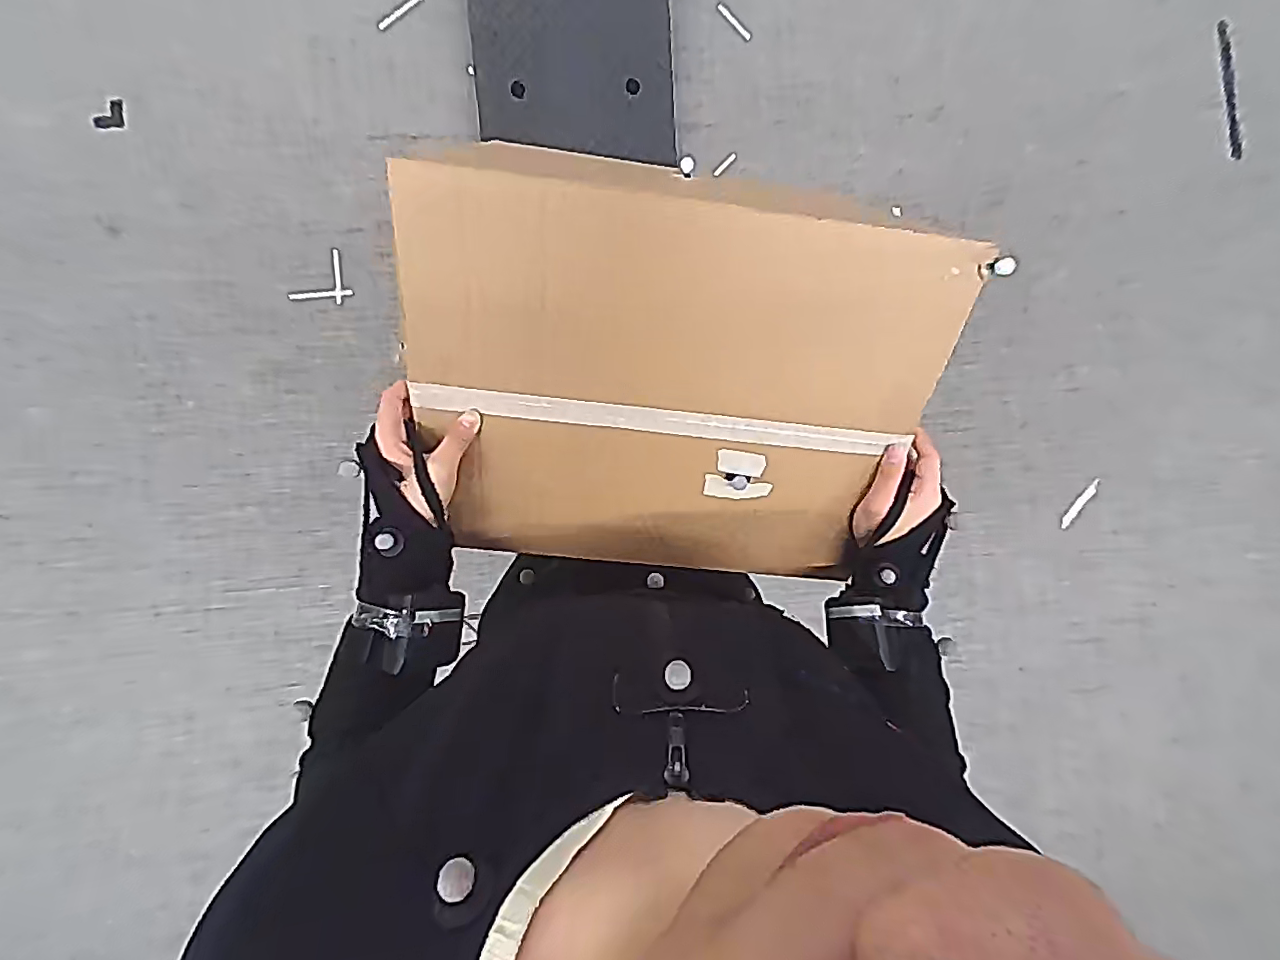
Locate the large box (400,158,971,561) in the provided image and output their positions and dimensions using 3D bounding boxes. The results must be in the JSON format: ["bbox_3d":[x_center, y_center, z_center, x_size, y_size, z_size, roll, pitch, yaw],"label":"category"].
[{"bbox_3d":[0.017,-0.138,0.572,0.408,0.320,0.320,4,125,-6],"label":"large box"}]
